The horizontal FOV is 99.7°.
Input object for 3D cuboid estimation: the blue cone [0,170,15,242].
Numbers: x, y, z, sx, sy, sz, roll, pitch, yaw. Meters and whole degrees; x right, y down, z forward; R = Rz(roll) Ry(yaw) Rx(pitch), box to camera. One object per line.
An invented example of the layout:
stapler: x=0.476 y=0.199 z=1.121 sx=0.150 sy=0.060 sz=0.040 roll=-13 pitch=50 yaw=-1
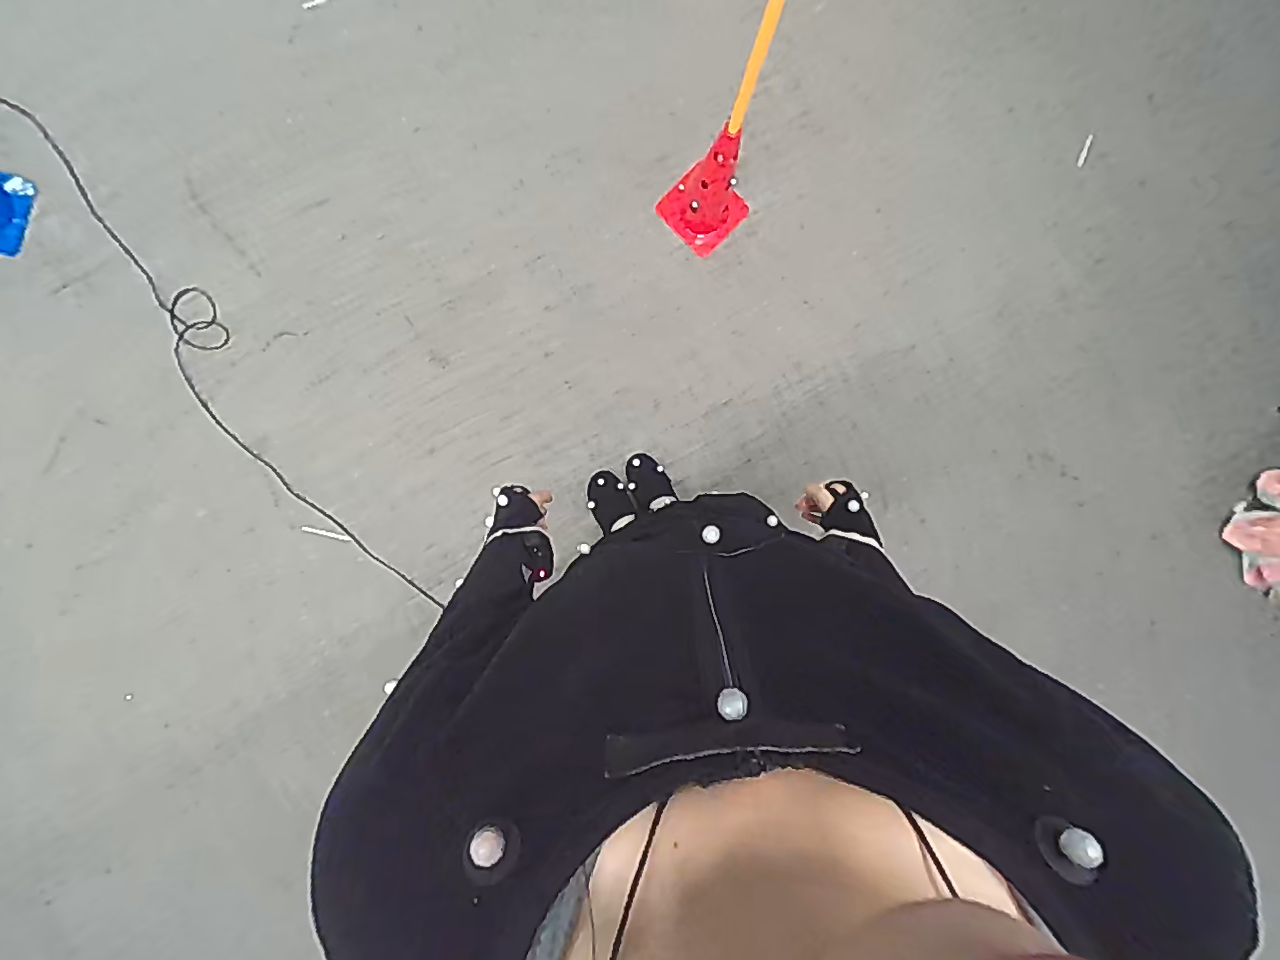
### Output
blue cone: x=-1.628 y=-0.672 z=1.160 sx=0.192 sy=0.380 sz=0.193 roll=15 pitch=93 yaw=-6
